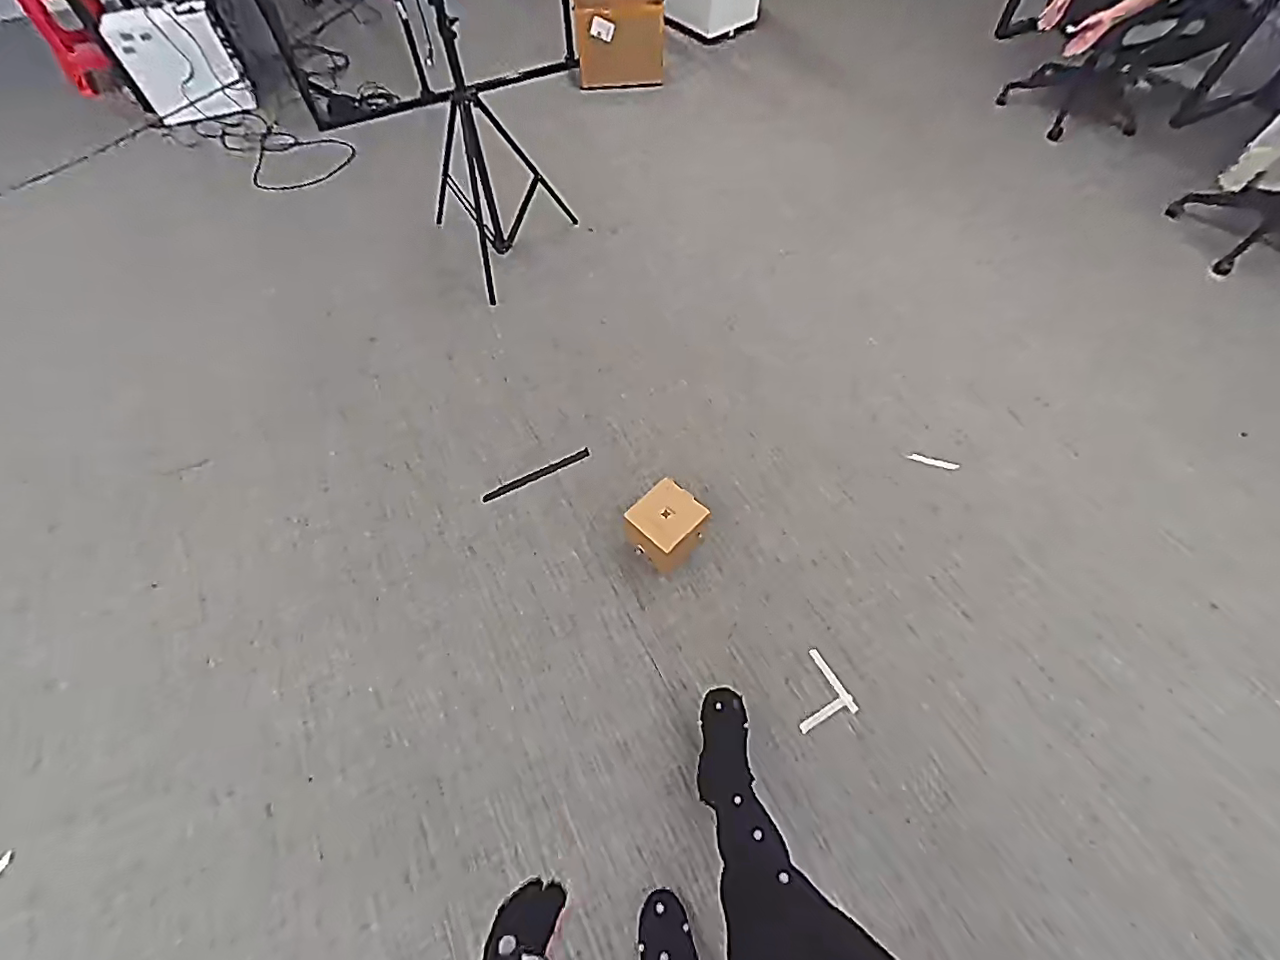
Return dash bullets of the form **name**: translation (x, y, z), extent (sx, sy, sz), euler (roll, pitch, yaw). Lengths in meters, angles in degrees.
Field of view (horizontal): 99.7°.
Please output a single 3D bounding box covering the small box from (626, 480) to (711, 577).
- **small box**: translation (0.077, 0.138, 1.524), extent (0.168, 0.176, 0.179), euler (39, 67, 22)
